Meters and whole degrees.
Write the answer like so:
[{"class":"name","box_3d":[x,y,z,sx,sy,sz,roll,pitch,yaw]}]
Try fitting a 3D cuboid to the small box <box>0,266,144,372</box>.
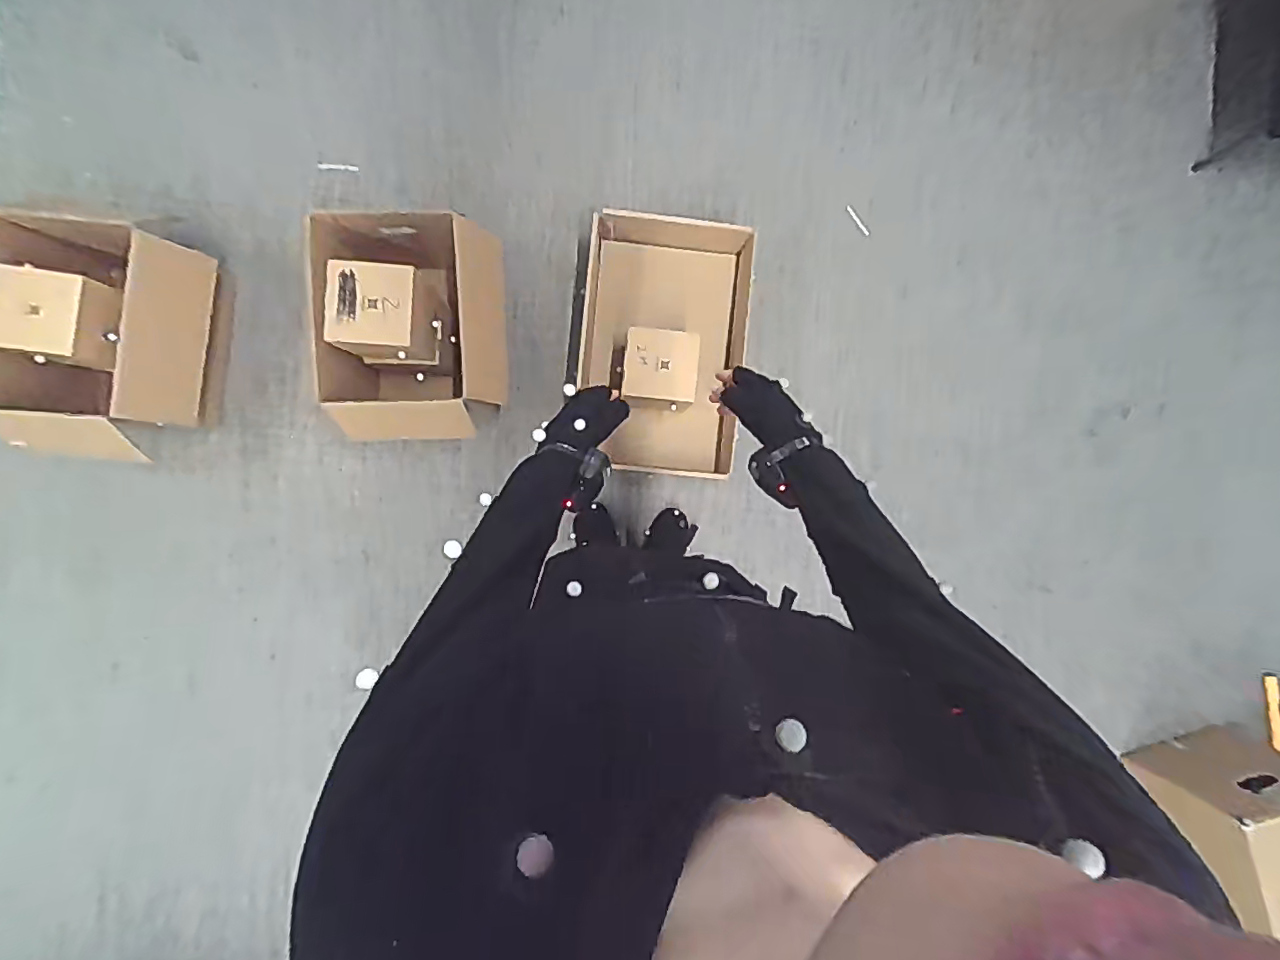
[{"class":"small box","box_3d":[-1.217,-0.333,1.148,0.179,0.176,0.168,7,89,-4]}]
